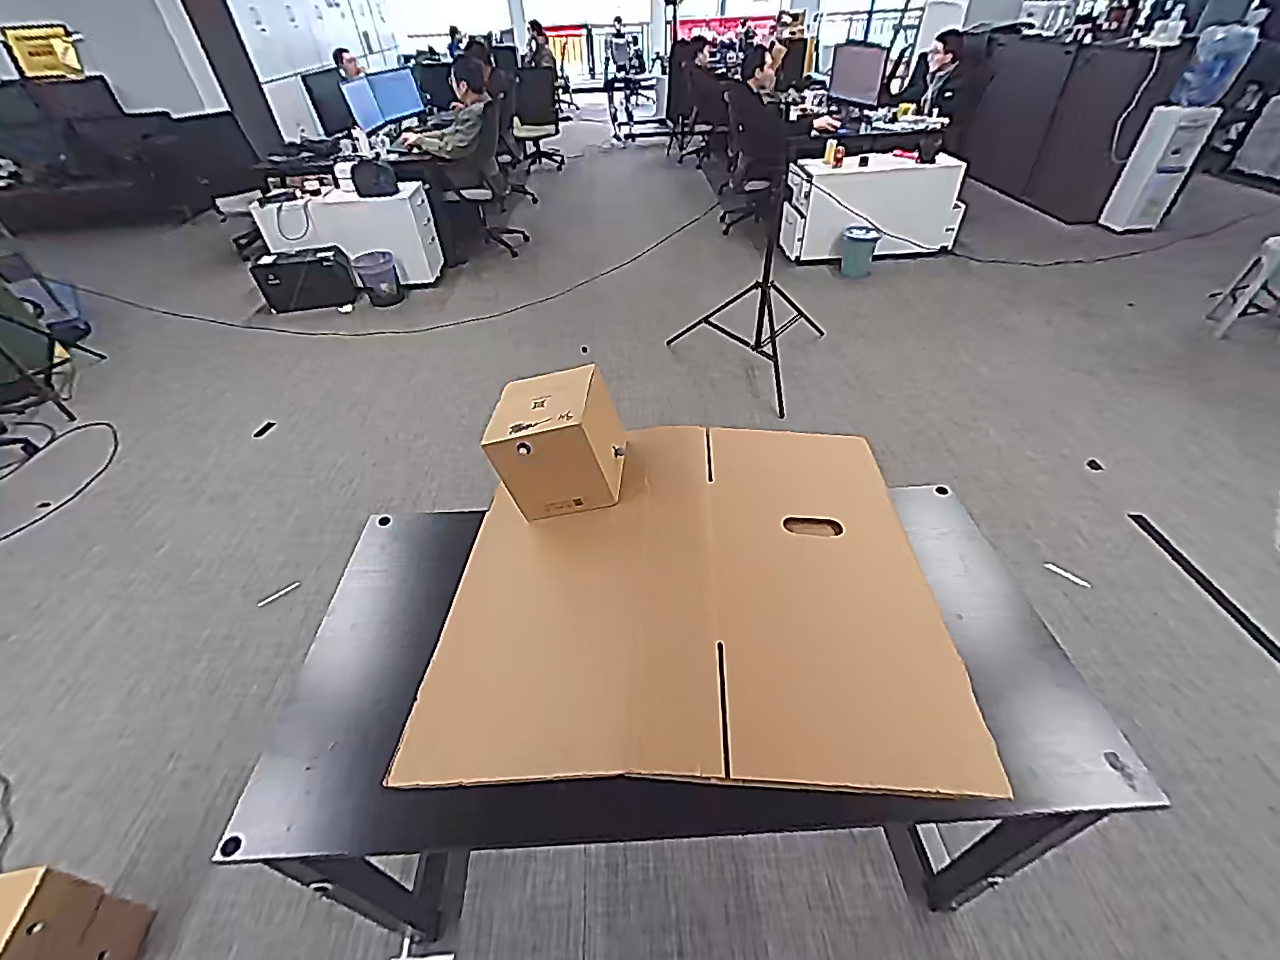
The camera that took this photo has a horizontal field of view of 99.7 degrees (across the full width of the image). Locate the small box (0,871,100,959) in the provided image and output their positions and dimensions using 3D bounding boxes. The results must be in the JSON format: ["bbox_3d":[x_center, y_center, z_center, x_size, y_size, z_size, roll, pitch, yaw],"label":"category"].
[{"bbox_3d":[-1.184,0.867,1.006,0.168,0.176,0.179,-7,41,-6],"label":"small box"}]

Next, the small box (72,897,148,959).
[{"bbox_3d":[-1.176,0.992,1.110,0.168,0.176,0.179,-6,42,-3],"label":"small box"}]

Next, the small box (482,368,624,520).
[{"bbox_3d":[-0.132,-0.058,0.902,0.168,0.176,0.179,-11,38,14],"label":"small box"}]
